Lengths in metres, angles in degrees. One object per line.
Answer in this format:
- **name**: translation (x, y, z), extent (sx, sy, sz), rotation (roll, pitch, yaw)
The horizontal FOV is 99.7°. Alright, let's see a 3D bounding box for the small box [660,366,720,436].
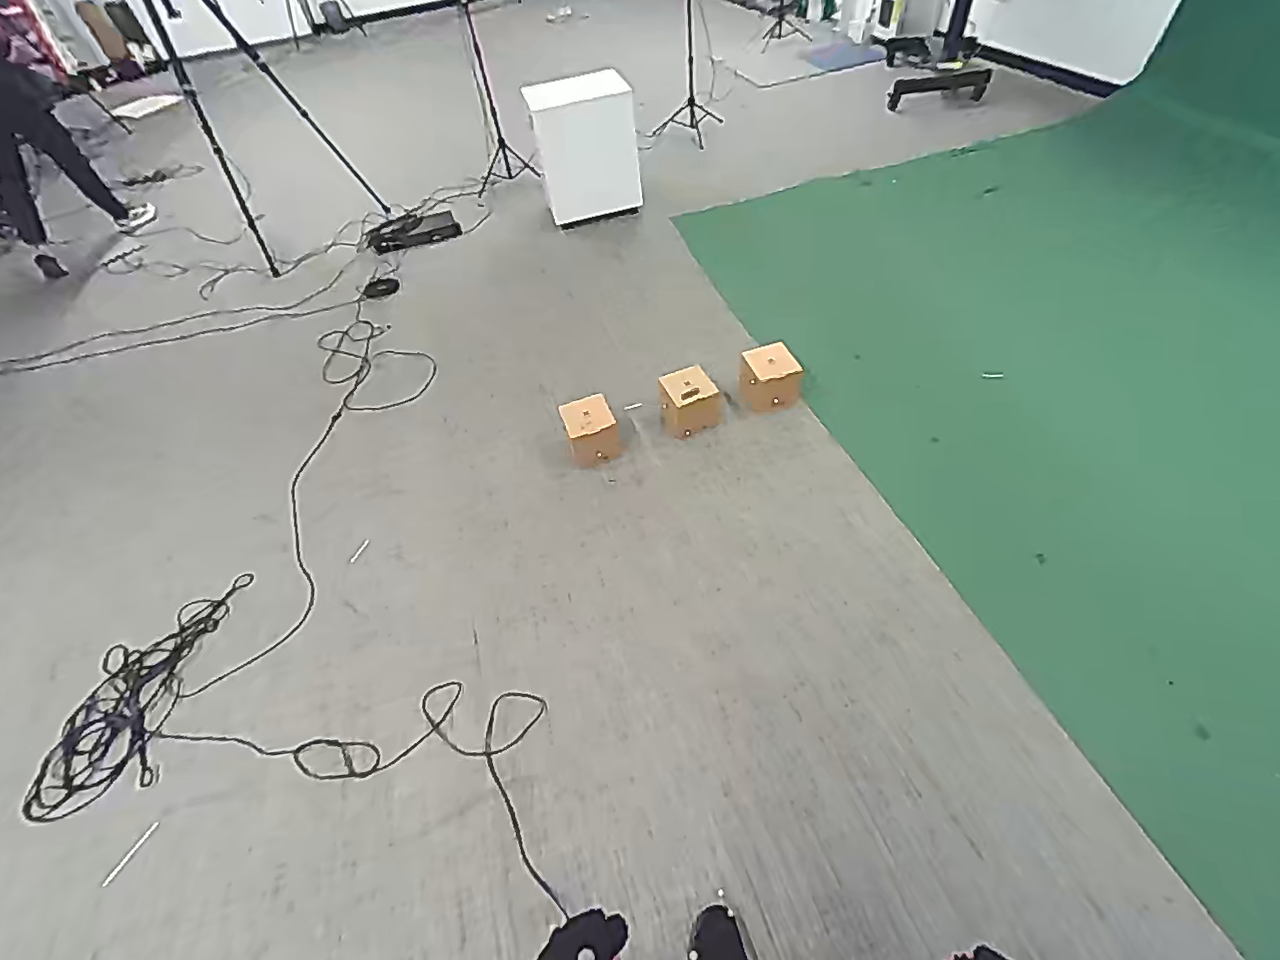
- **small box**: translation (0.184, -0.284, 1.998), extent (0.168, 0.176, 0.179), rotation (-20, 51, -10)

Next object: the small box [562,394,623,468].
- **small box**: translation (-0.171, -0.176, 1.947), extent (0.168, 0.176, 0.179), rotation (-19, 53, -8)

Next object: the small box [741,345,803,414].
- **small box**: translation (0.491, -0.378, 2.042), extent (0.168, 0.176, 0.179), rotation (-17, 52, -6)
